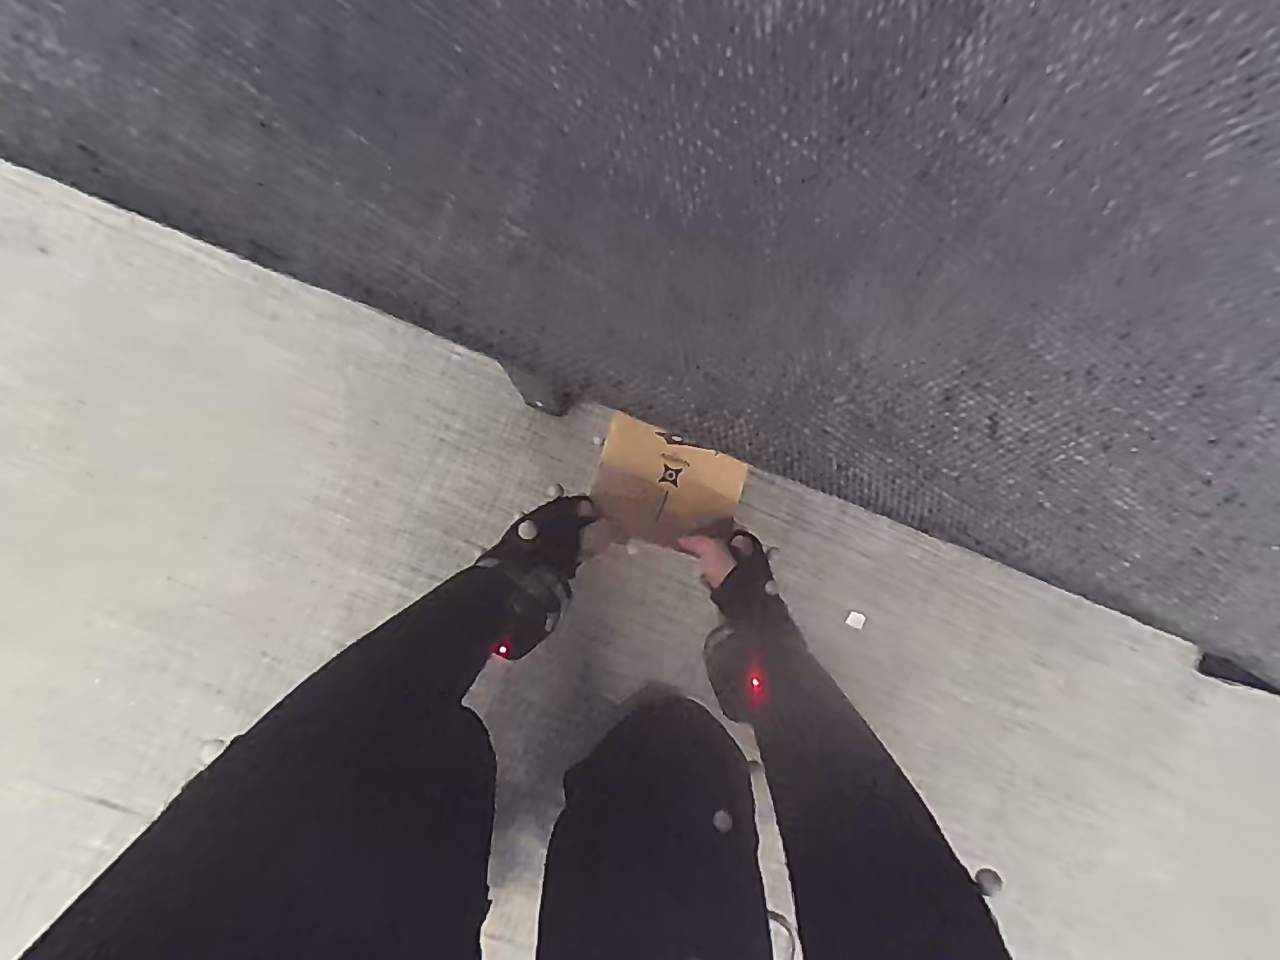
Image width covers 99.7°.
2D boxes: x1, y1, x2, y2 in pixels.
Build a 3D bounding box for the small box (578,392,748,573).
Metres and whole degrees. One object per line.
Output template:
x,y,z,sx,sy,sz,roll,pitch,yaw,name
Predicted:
0.020,0.012,0.693,0.168,0.176,0.179,15,81,-3,small box
